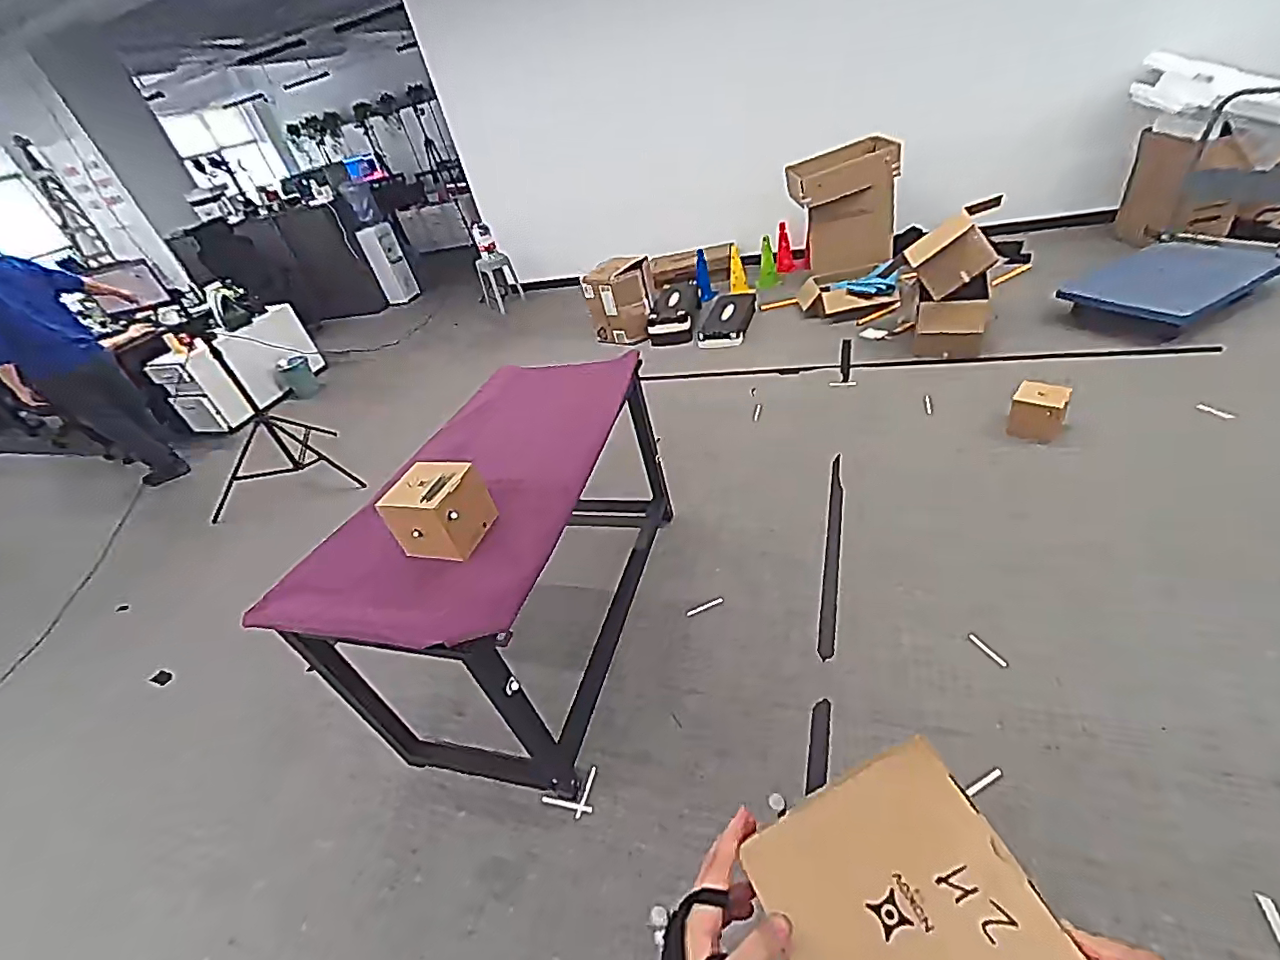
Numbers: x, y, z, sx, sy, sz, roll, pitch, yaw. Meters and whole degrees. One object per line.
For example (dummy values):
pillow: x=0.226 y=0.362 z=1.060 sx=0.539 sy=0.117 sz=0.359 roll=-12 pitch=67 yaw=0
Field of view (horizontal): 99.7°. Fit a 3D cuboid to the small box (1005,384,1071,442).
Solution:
small box: x=1.655 y=-0.278 z=2.255 sx=0.179 sy=0.176 sz=0.168 roll=22 pitch=49 yaw=38
